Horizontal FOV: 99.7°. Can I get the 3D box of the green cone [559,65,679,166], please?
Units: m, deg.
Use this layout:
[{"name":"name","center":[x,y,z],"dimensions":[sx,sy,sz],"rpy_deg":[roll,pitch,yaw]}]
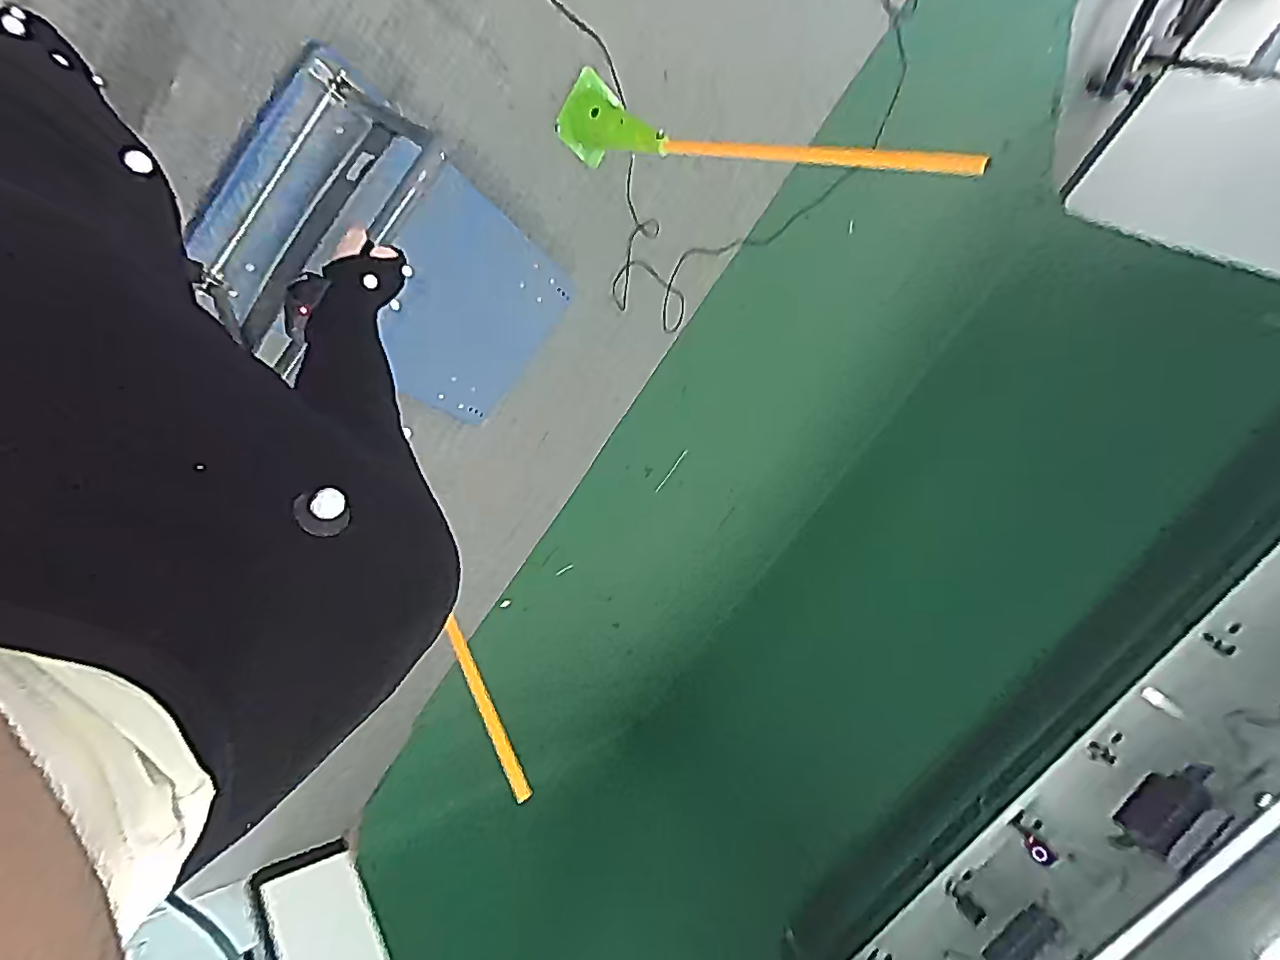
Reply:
[{"name":"green cone","center":[-0.026,-0.992,1.529],"dimensions":[0.200,0.368,0.202],"rpy_deg":[12,114,-54]}]
